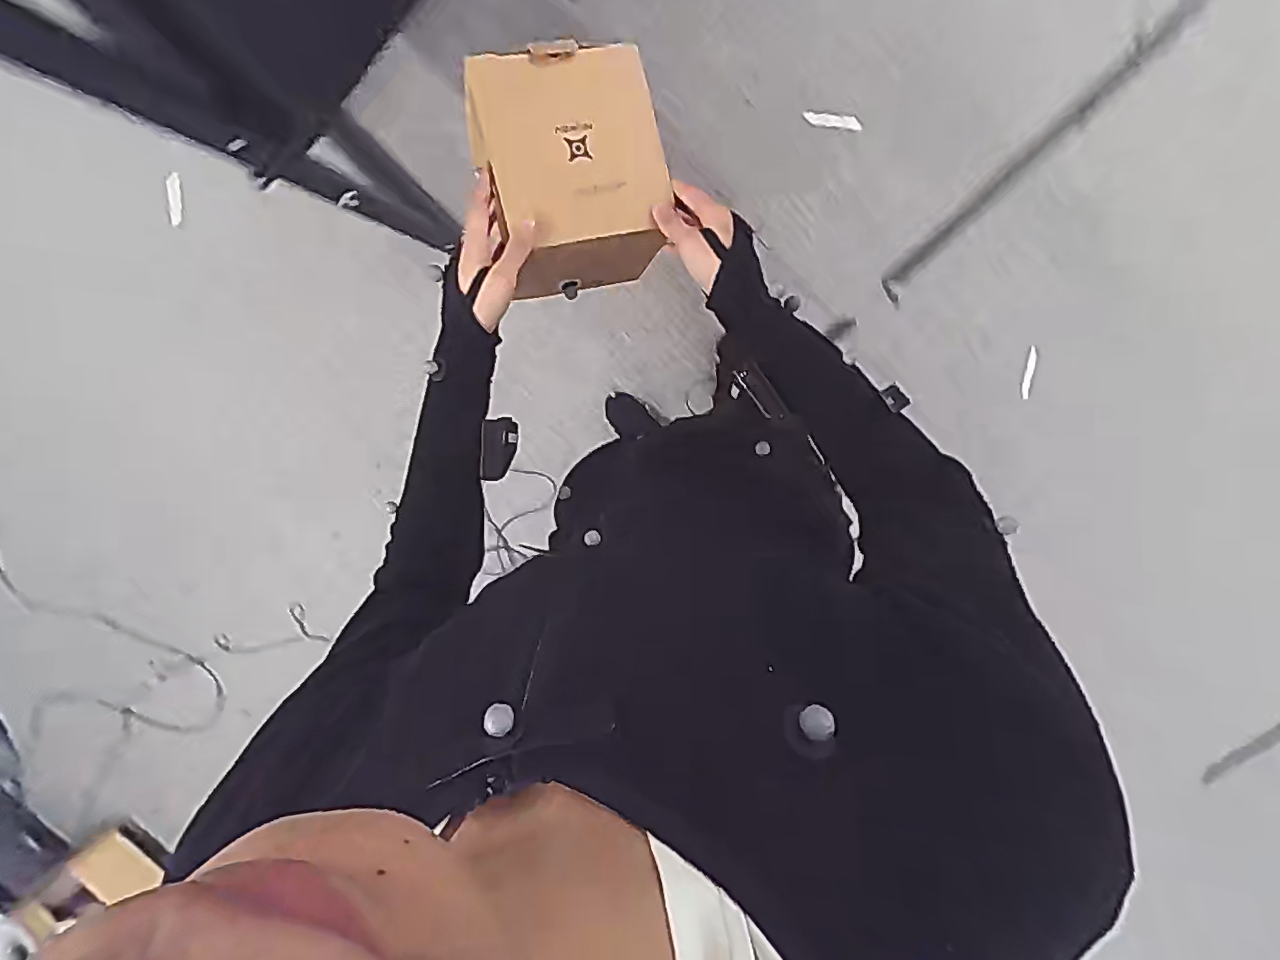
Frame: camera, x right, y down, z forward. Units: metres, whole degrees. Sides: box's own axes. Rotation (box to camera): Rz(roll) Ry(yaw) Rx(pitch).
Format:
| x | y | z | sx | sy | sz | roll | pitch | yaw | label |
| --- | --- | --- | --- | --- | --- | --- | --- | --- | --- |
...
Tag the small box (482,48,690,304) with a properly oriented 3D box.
| x | y | z | sx | sy | sz | roll | pitch | yaw | label |
| --- | --- | --- | --- | --- | --- | --- | --- | --- | --- |
| -0.066 | -0.305 | 0.570 | 0.168 | 0.176 | 0.179 | -14 | 96 | -14 | small box |
